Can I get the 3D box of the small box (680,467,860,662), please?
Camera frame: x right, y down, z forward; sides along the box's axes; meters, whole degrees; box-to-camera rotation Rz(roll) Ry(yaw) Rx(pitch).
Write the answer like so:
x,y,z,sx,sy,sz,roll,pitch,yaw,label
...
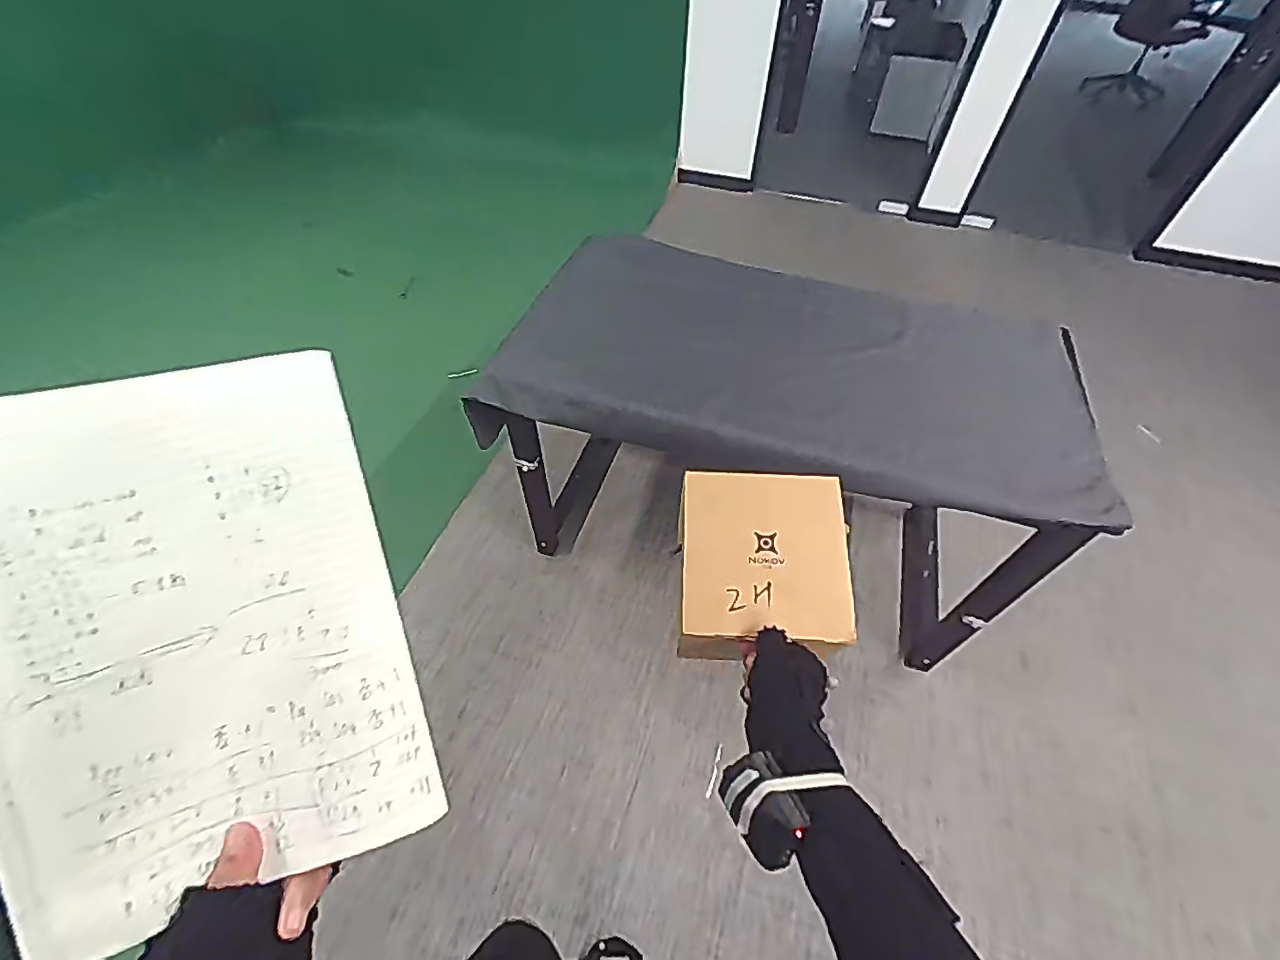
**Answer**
x,y,z,sx,sy,sz,roll,pitch,yaw,label
0.132,0.102,0.618,0.168,0.176,0.179,2,64,3,small box
